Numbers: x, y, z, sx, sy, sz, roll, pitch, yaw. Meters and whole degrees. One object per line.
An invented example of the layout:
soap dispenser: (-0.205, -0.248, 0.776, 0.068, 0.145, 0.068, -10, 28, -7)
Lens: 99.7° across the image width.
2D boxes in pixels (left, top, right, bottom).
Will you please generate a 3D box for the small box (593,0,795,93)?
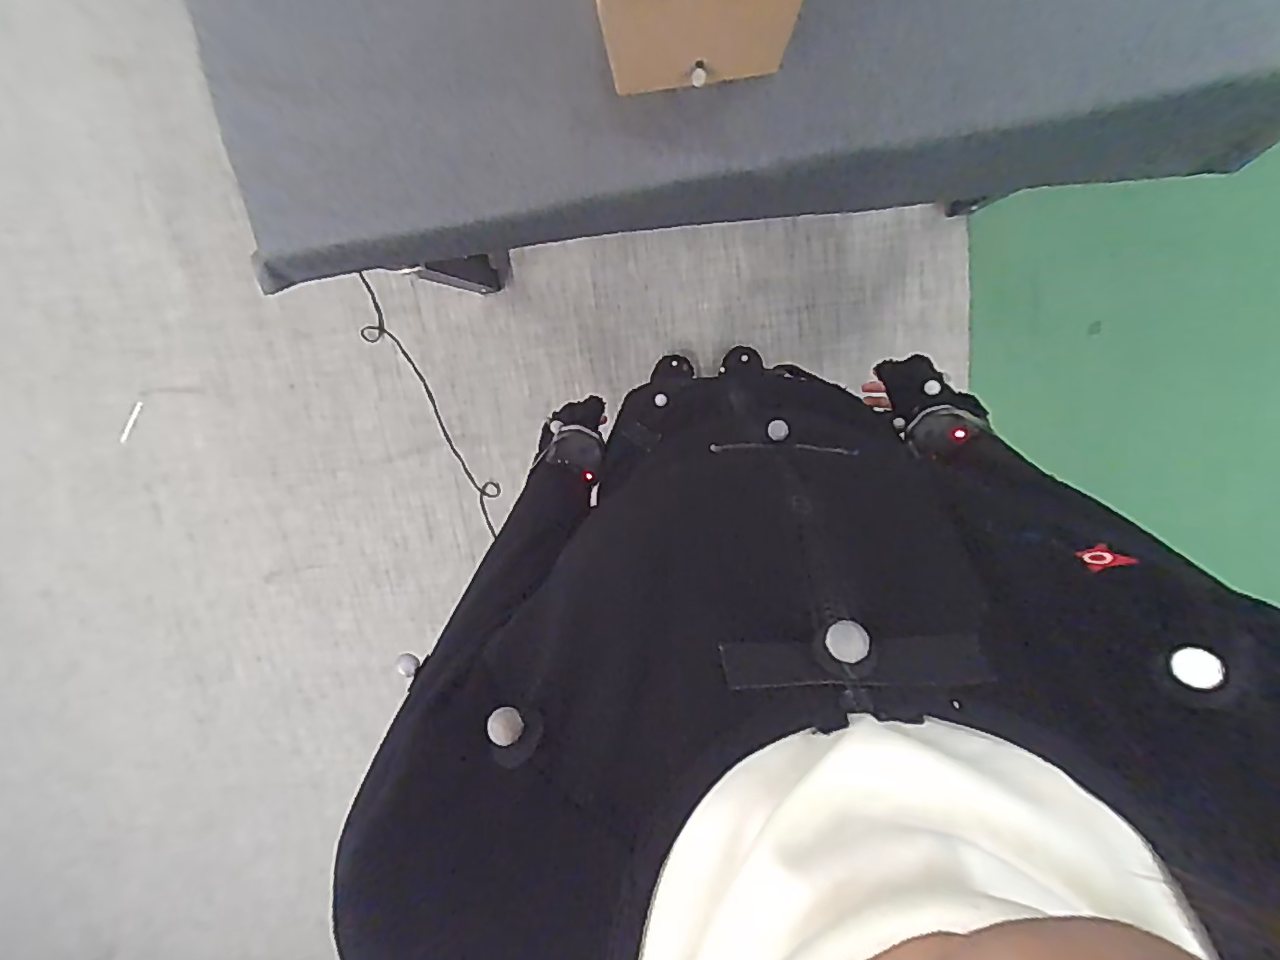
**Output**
small box: (0.042, -0.492, 0.495, 0.179, 0.176, 0.168, -6, 103, 4)
